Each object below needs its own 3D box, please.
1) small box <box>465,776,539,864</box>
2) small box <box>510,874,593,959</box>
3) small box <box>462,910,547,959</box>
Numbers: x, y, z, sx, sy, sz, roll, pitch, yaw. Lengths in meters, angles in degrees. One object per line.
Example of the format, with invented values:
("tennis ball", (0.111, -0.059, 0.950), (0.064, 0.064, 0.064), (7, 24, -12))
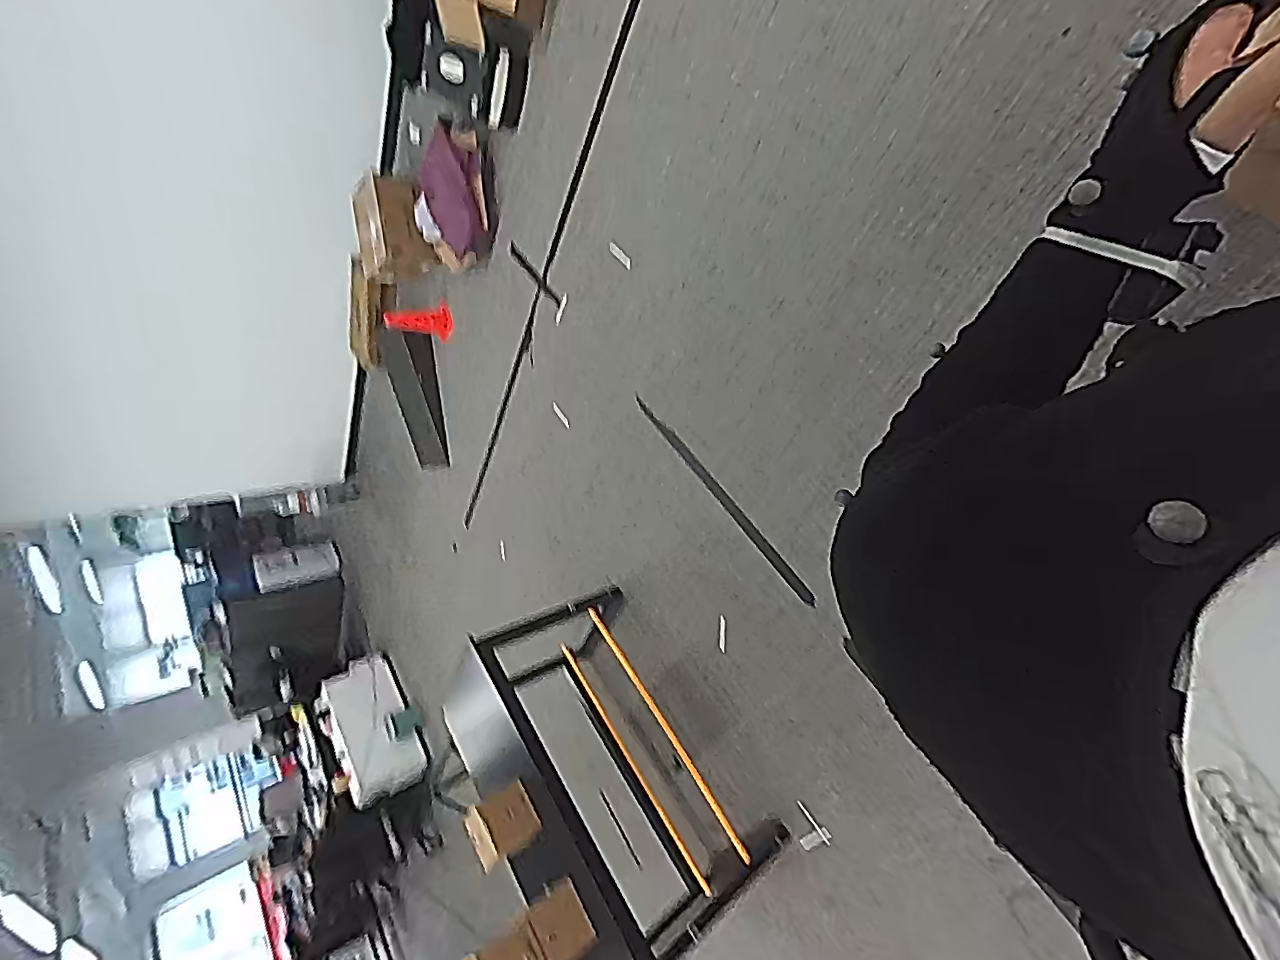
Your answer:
("small box", (-0.465, 1.148, 1.836), (0.168, 0.176, 0.179), (50, 131, 27))
("small box", (-0.272, 1.374, 1.675), (0.179, 0.176, 0.168), (54, 132, 26))
("small box", (-0.388, 1.399, 1.564), (0.168, 0.176, 0.179), (51, 130, 25))
